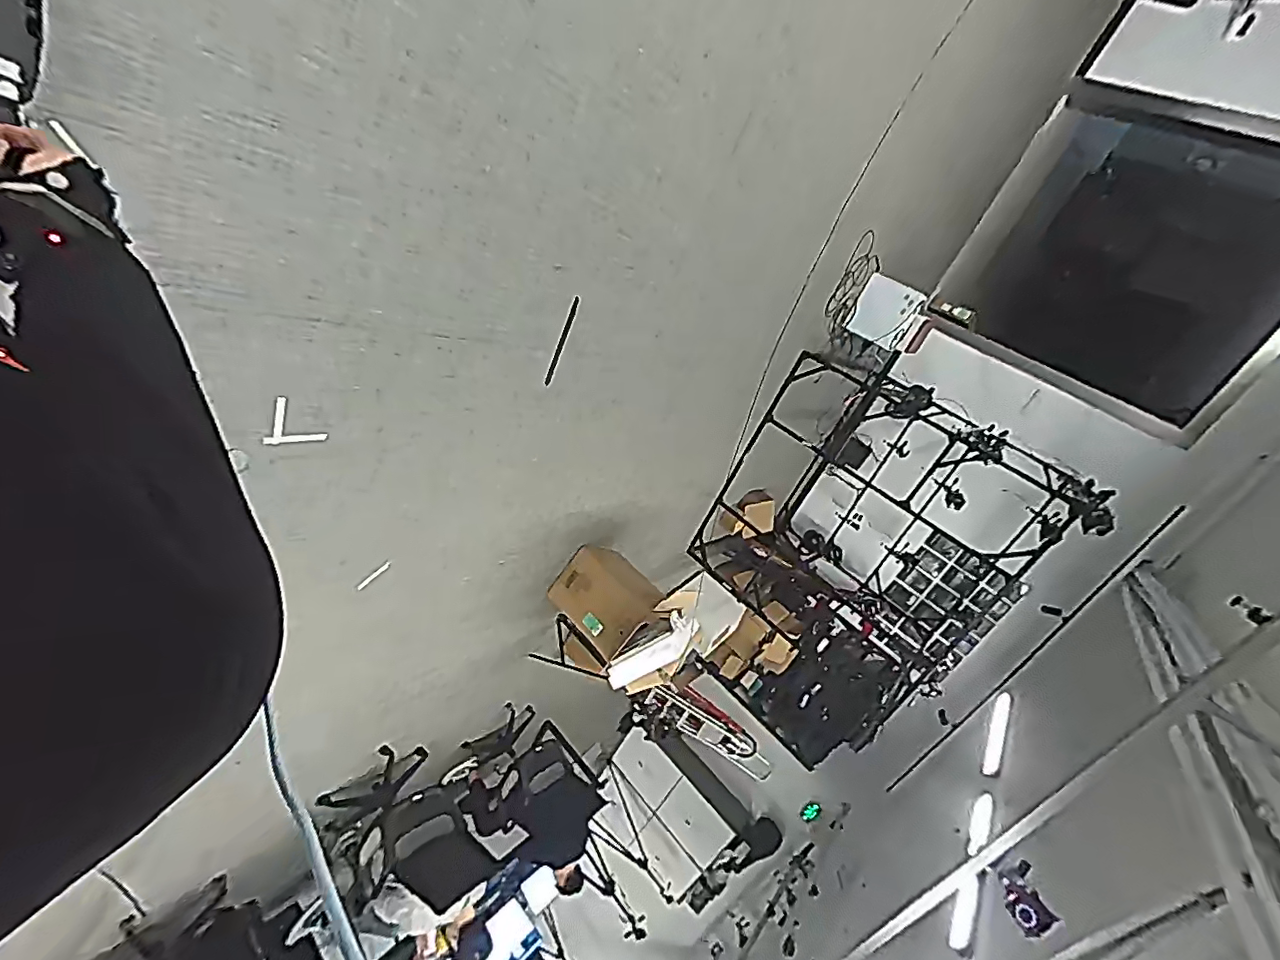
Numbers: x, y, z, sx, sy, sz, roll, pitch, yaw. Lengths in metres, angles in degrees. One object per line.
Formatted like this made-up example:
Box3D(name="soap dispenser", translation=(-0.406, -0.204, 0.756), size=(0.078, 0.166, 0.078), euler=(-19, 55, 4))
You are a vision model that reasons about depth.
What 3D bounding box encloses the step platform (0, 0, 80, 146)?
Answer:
Box3D(name="step platform", translation=(-1.125, -0.681, 0.612), size=(0.684, 0.204, 0.286), euler=(-4, 127, -57))
